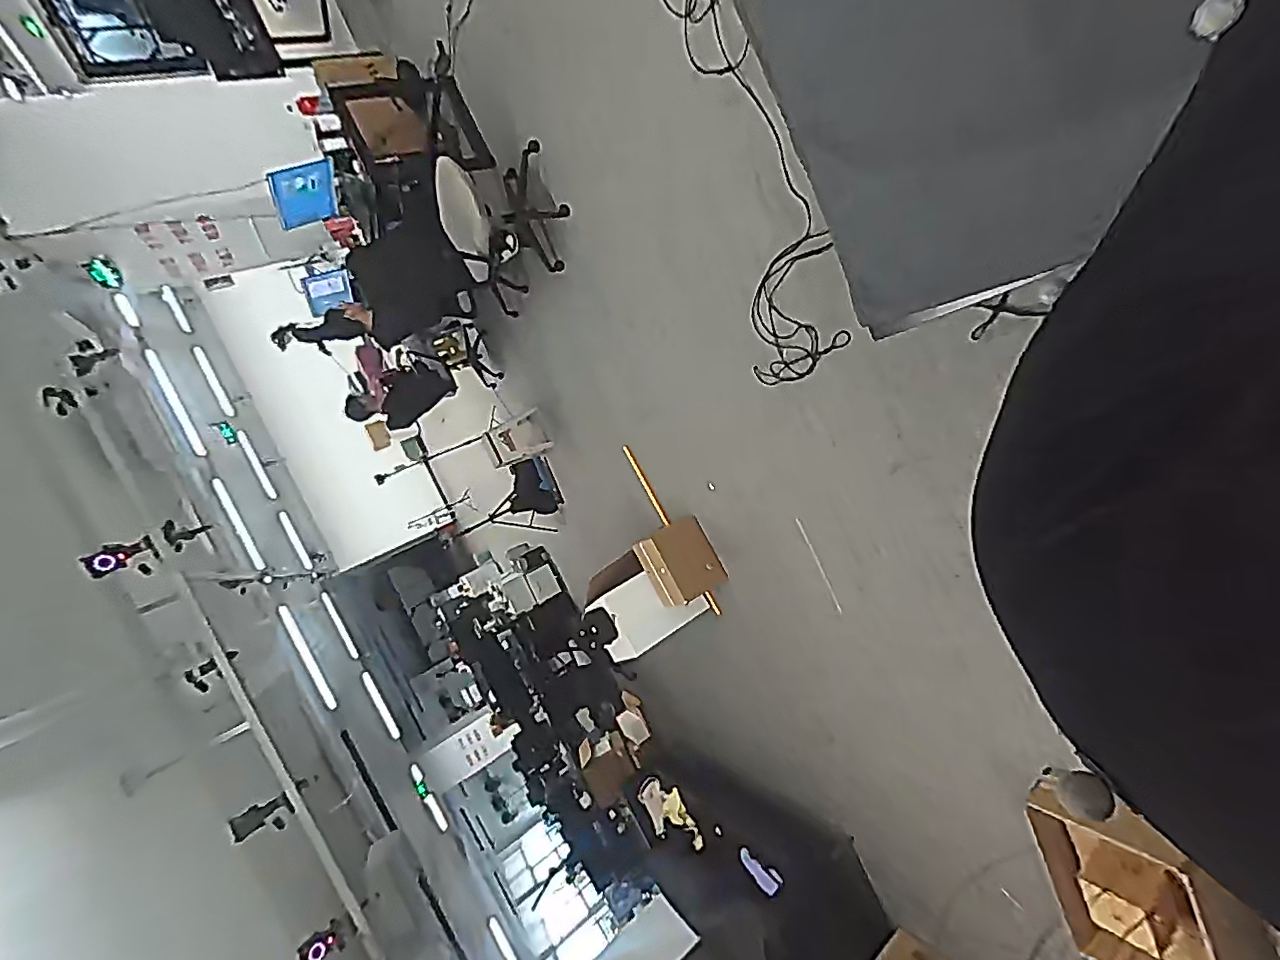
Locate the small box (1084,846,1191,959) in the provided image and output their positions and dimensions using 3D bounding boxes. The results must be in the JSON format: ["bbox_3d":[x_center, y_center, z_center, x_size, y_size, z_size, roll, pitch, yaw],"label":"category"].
[{"bbox_3d":[1.468,1.242,1.592,0.168,0.176,0.179,-9,106,65],"label":"small box"}]
